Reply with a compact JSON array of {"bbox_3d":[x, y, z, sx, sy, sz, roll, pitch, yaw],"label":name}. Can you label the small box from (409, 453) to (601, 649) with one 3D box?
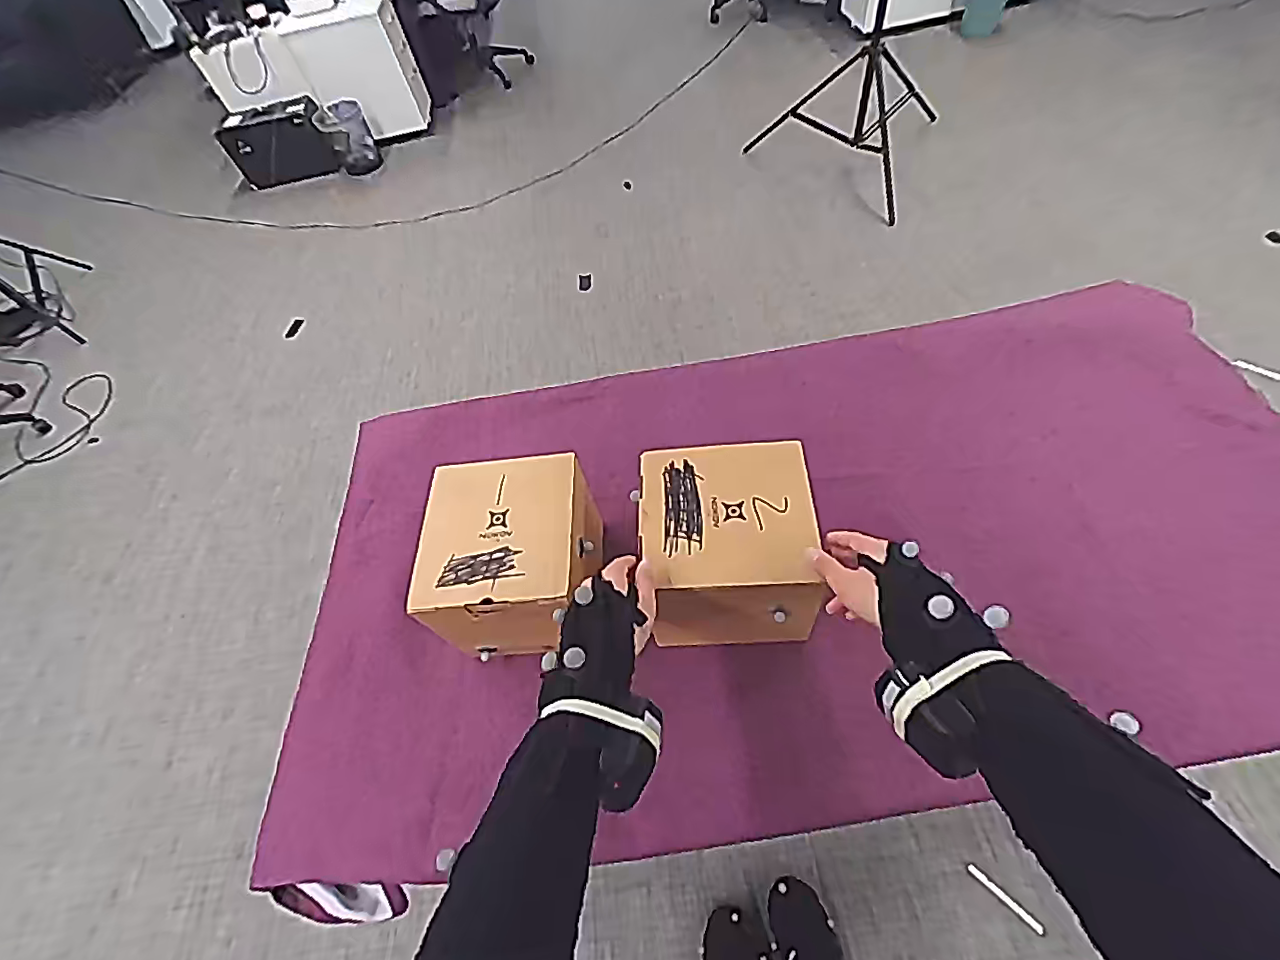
[{"bbox_3d":[-0.141,0.092,0.638,0.168,0.176,0.179,-5,56,5],"label":"small box"}]
